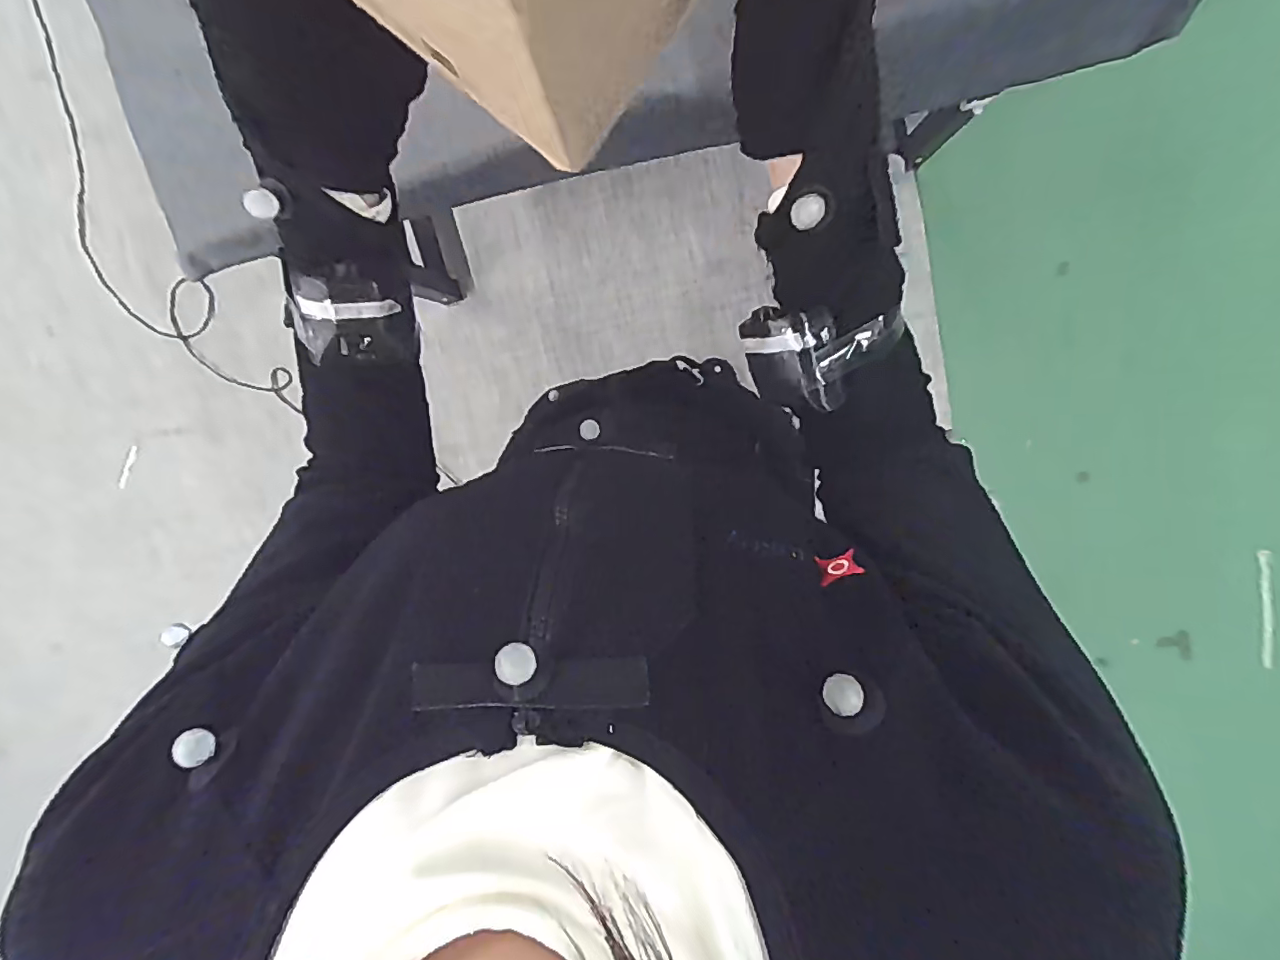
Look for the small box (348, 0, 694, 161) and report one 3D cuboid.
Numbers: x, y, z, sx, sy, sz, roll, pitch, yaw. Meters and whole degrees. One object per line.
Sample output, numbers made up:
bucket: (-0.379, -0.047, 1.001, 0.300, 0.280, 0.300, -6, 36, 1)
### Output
small box: (-0.041, -0.233, 0.137, 0.168, 0.176, 0.179, 36, 99, -7)
